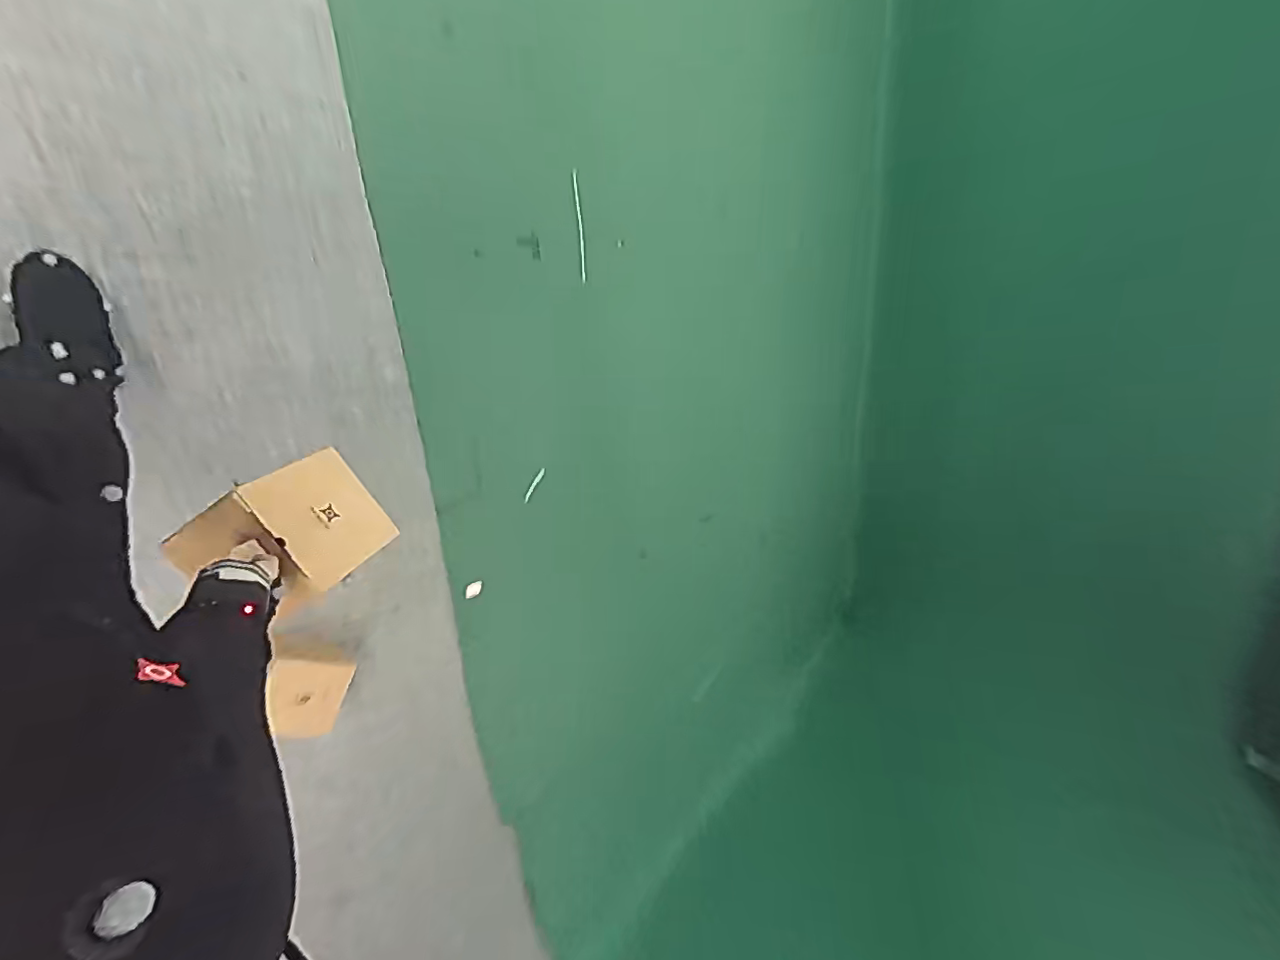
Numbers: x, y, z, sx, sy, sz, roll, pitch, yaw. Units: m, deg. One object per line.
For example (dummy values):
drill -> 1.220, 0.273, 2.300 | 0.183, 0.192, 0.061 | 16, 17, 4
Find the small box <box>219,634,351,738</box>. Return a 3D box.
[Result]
small box -> -0.797, 0.458, 1.210 | 0.179, 0.176, 0.168 | 30, 77, -50
